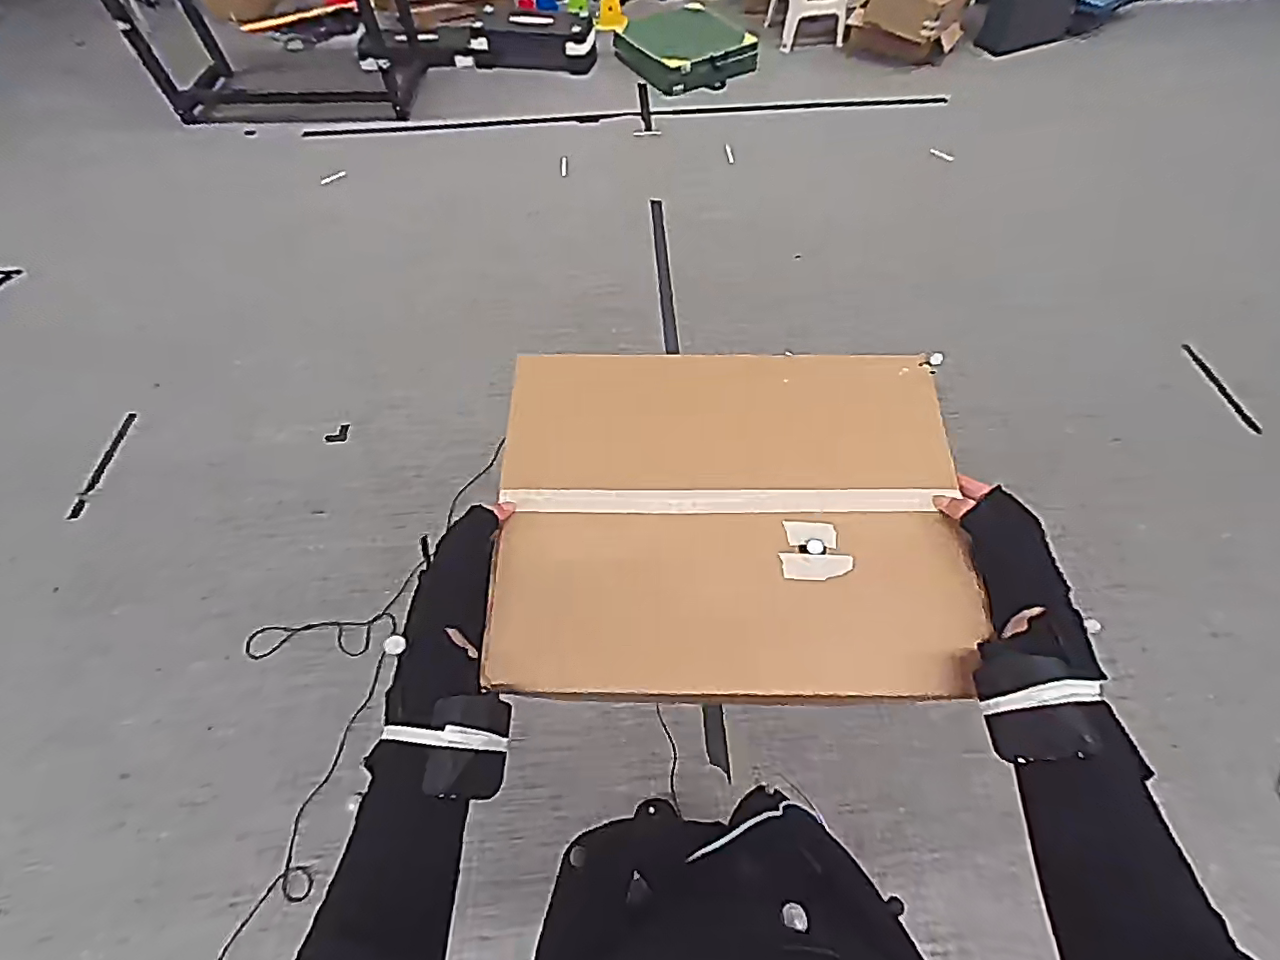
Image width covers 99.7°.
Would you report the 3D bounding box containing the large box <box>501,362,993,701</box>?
[{"bbox_3d":[0.082,0.082,0.623,0.408,0.320,0.320,0,68,0],"label":"large box"}]
